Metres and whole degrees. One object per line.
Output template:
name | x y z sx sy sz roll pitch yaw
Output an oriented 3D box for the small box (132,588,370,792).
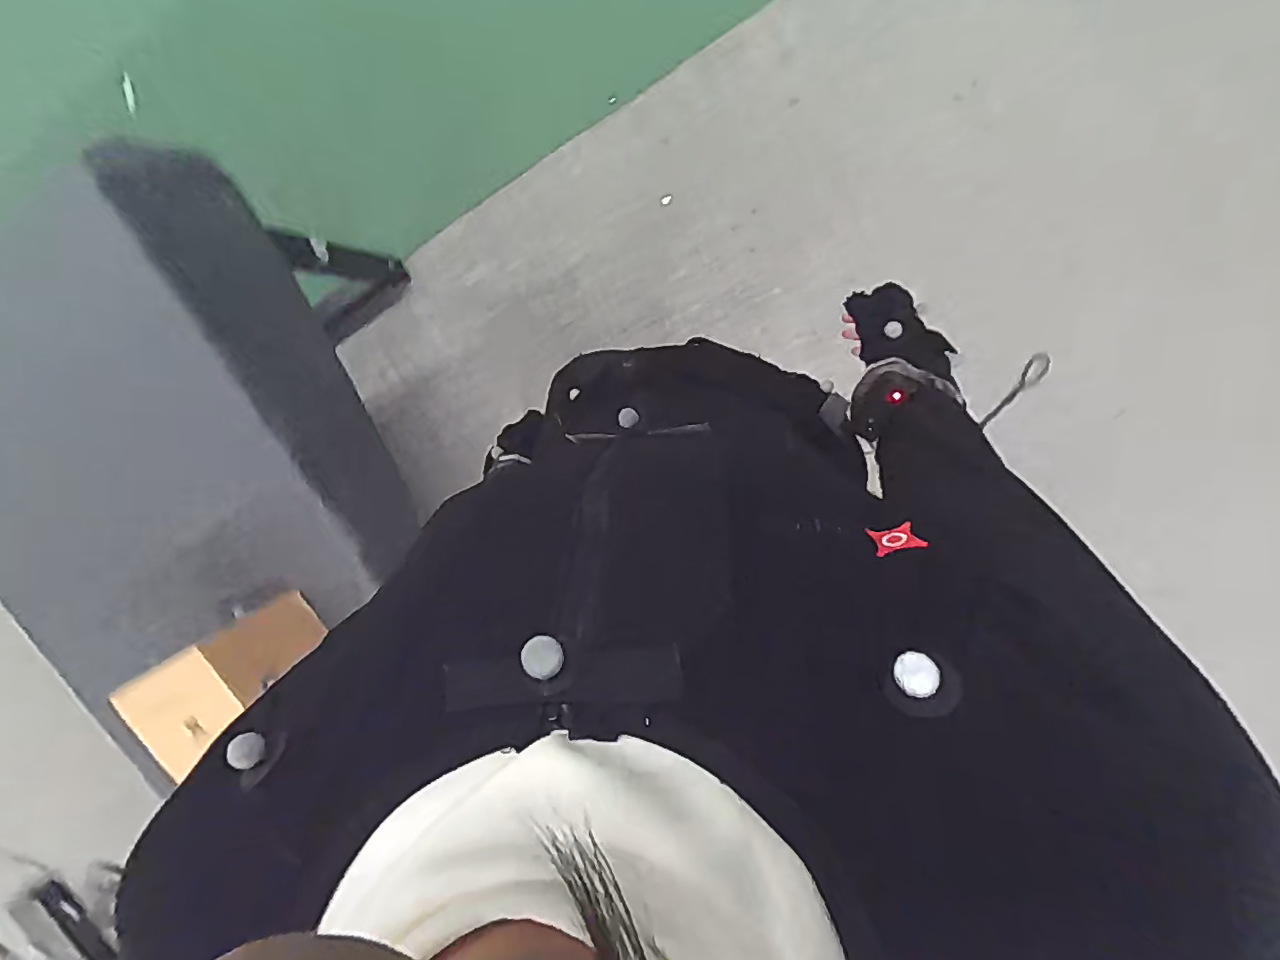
small box | -0.527 0.283 0.759 0.168 0.176 0.179 -30 97 13
